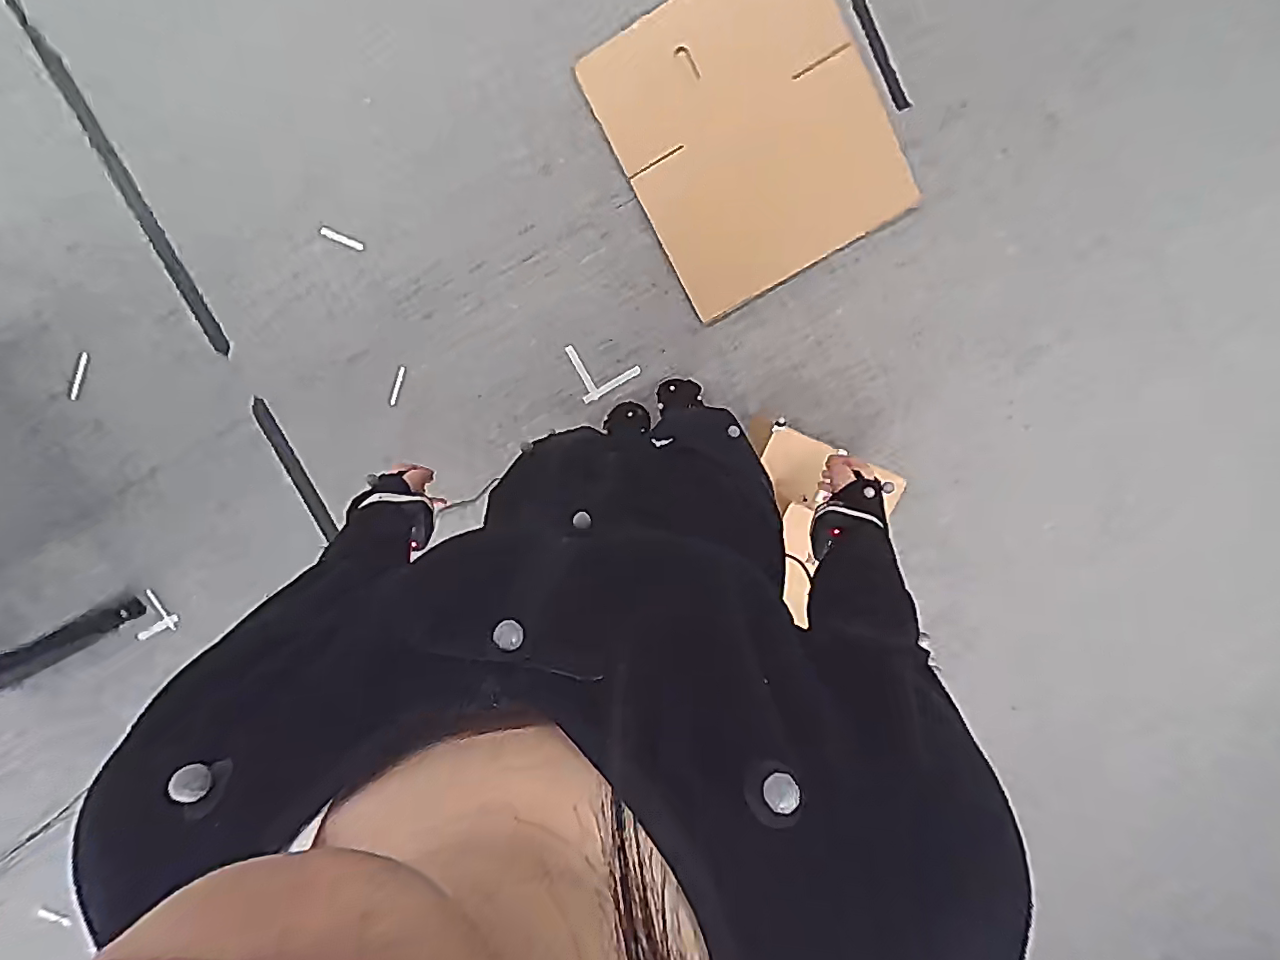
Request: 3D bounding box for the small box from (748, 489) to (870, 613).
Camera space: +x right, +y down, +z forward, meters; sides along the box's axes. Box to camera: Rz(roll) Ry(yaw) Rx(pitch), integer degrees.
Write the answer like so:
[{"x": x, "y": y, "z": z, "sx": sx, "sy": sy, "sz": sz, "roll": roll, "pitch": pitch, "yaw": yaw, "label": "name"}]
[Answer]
[{"x": 0.331, "y": 0.135, "z": 1.101, "sx": 0.168, "sy": 0.176, "sz": 0.179, "roll": 21, "pitch": 102, "yaw": 1, "label": "small box"}]
